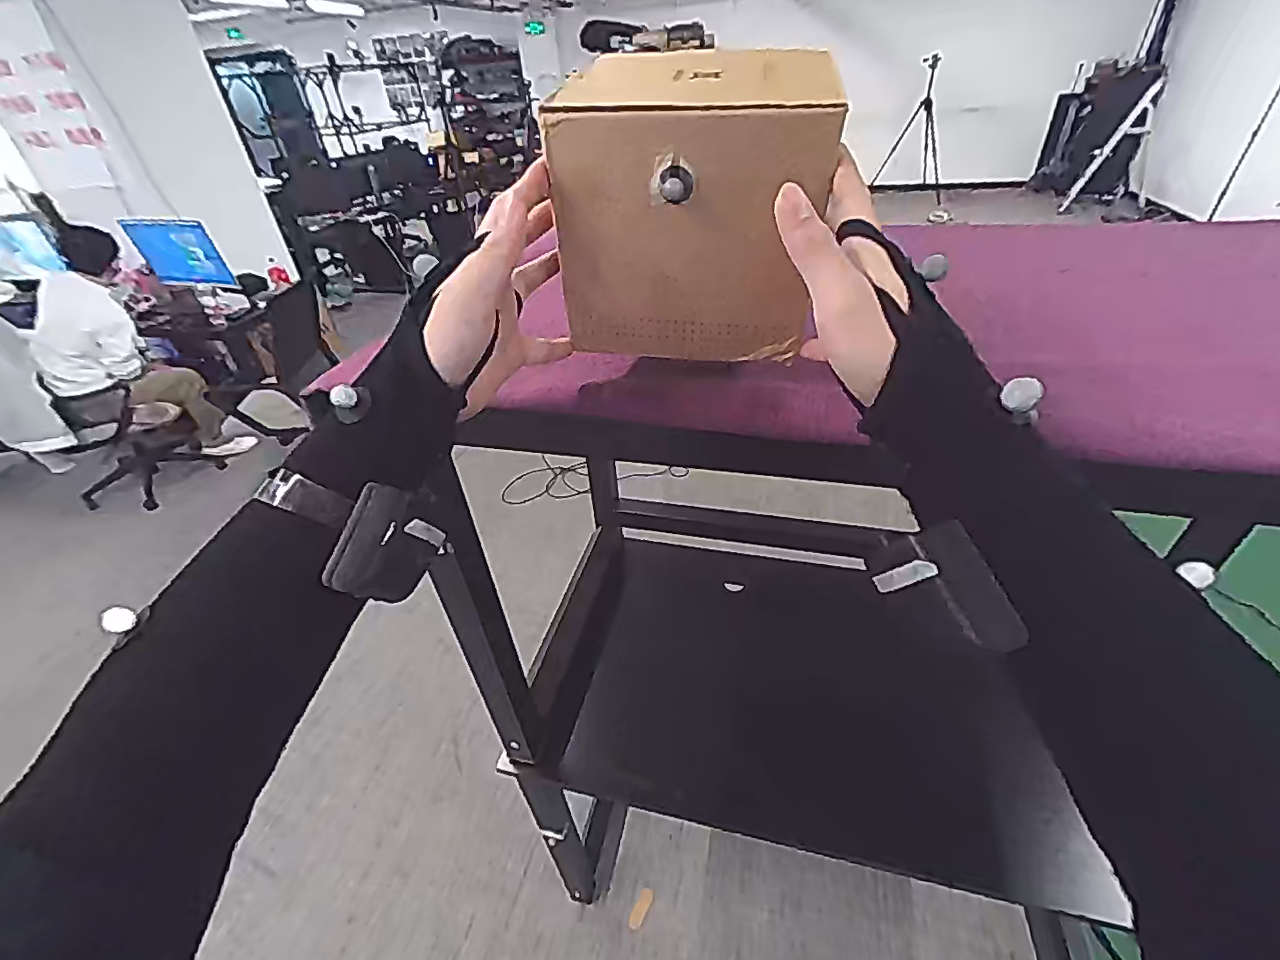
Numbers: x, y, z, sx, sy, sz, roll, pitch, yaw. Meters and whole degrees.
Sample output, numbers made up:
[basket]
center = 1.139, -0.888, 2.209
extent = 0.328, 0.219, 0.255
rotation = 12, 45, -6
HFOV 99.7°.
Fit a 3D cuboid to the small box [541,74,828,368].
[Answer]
[small box]
center = 0.042, -0.204, 0.429
extent = 0.179, 0.176, 0.168
rotation = 6, 45, 10
